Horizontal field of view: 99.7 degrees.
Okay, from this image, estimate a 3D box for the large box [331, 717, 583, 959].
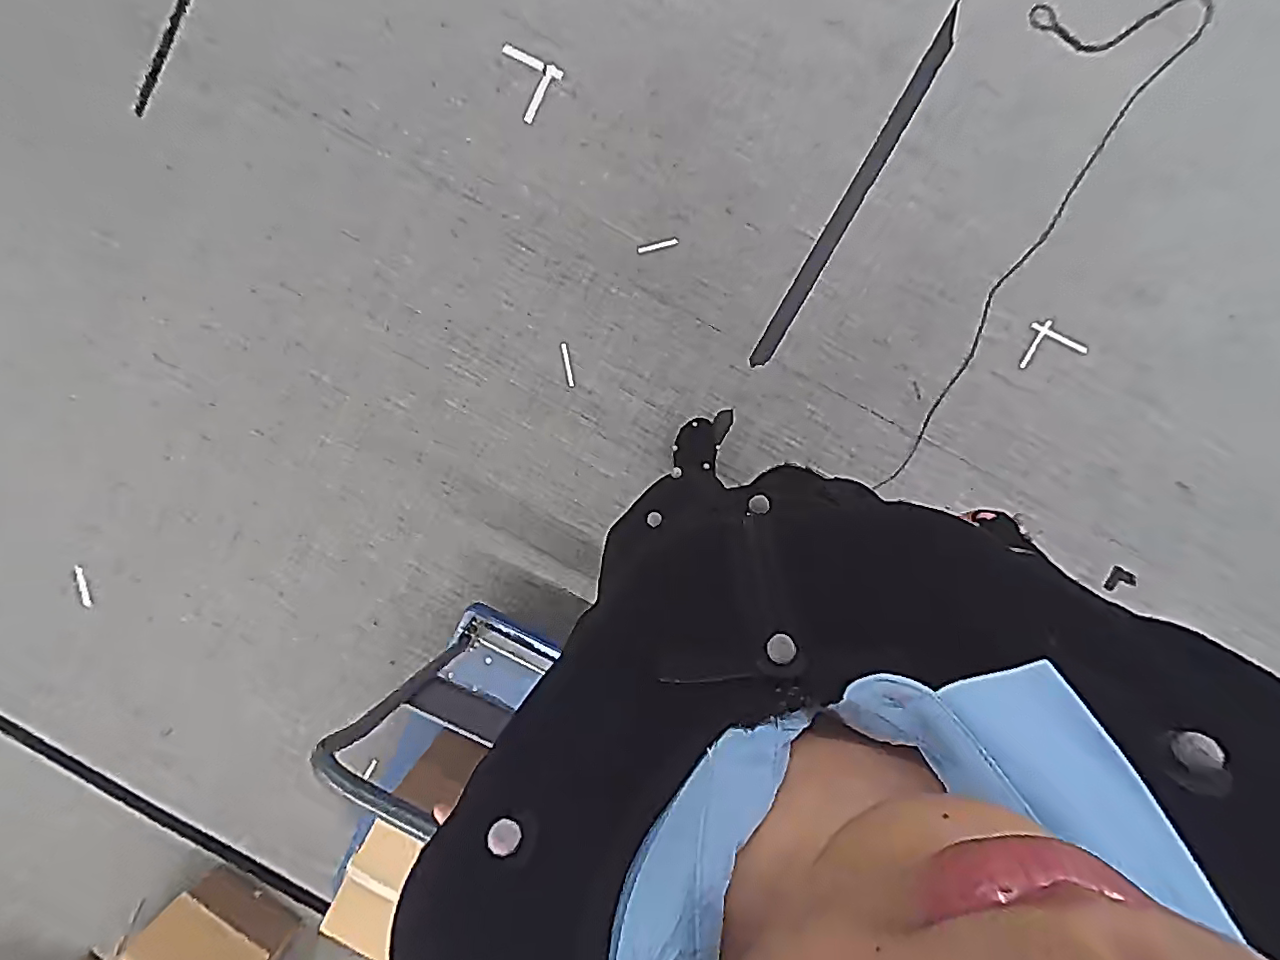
[{"bbox_3d":[-0.390,0.830,1.246,0.408,0.320,0.320,28,95,0],"label":"large box"}]
